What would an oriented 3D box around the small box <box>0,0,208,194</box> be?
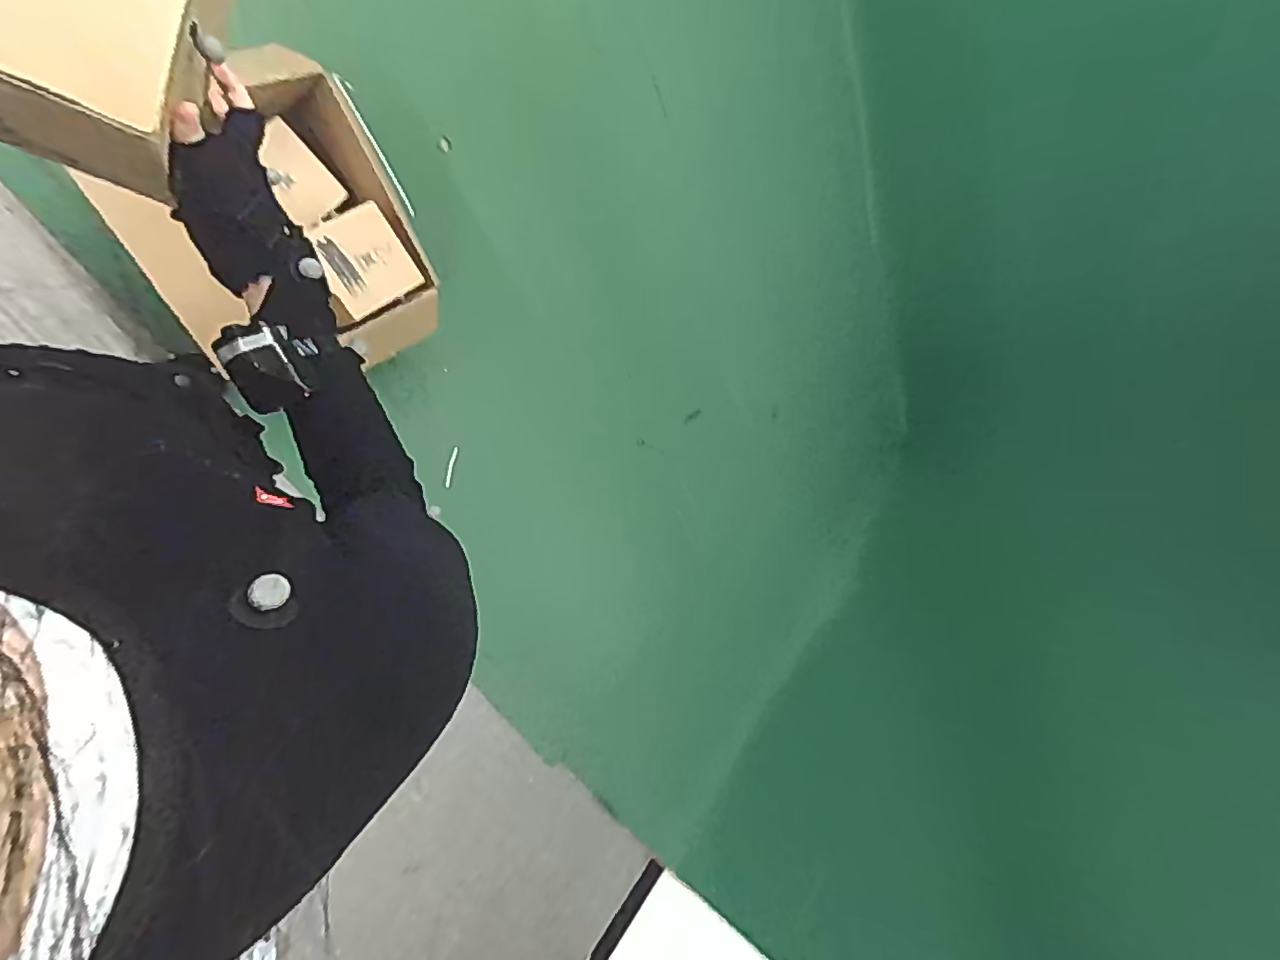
[{"bbox_3d":[-0.378,-0.310,0.325,0.168,0.176,0.179,13,93,-38],"label":"small box"}]
